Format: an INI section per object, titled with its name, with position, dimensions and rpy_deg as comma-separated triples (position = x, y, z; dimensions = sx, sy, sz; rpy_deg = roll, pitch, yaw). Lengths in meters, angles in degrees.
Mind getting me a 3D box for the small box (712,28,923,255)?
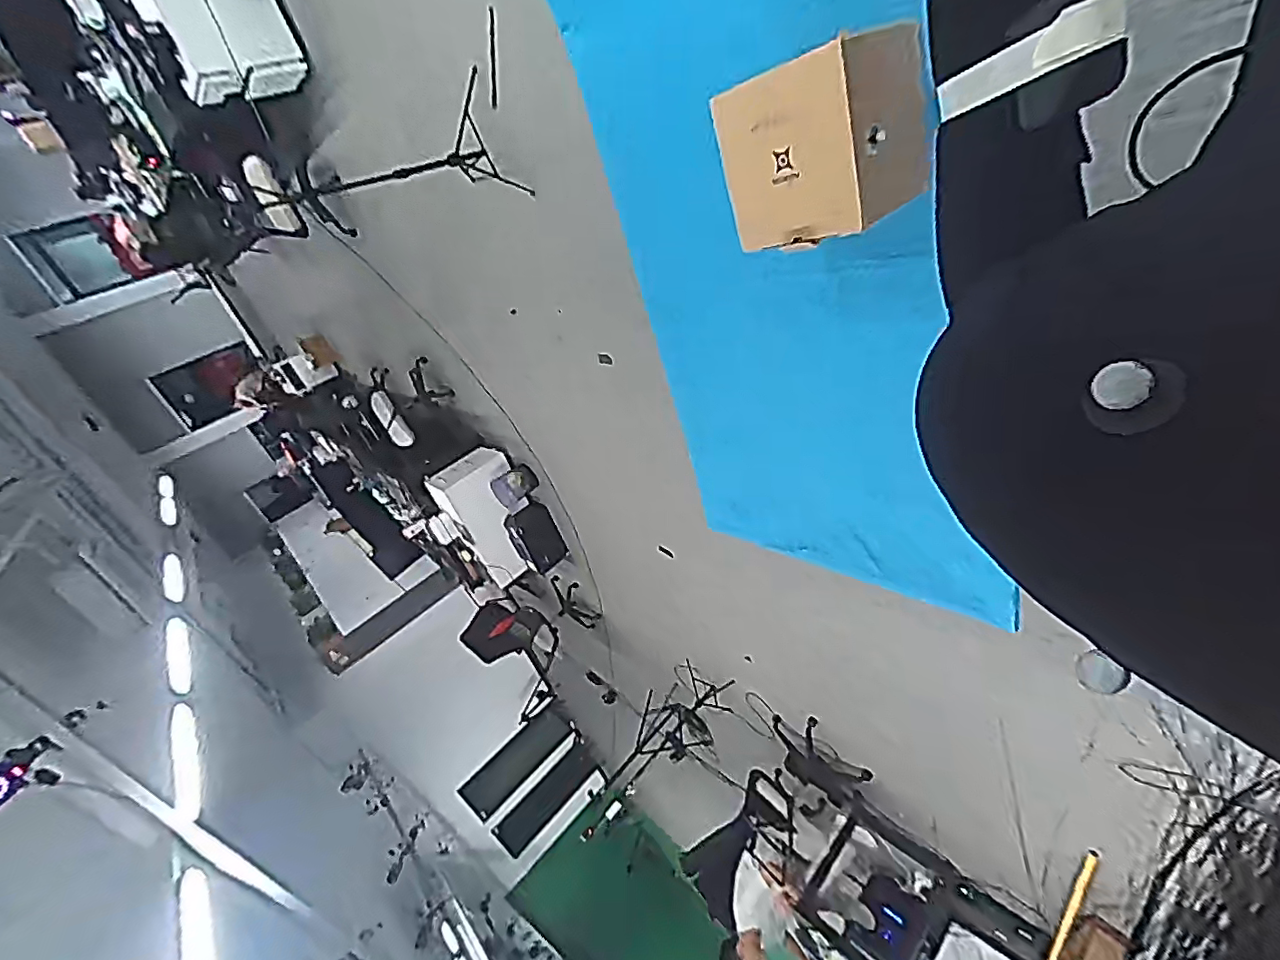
[small box]
position = 0.219, -0.395, 0.647
dimensions = 0.168, 0.176, 0.179
rpy_deg = 15, 135, 48
